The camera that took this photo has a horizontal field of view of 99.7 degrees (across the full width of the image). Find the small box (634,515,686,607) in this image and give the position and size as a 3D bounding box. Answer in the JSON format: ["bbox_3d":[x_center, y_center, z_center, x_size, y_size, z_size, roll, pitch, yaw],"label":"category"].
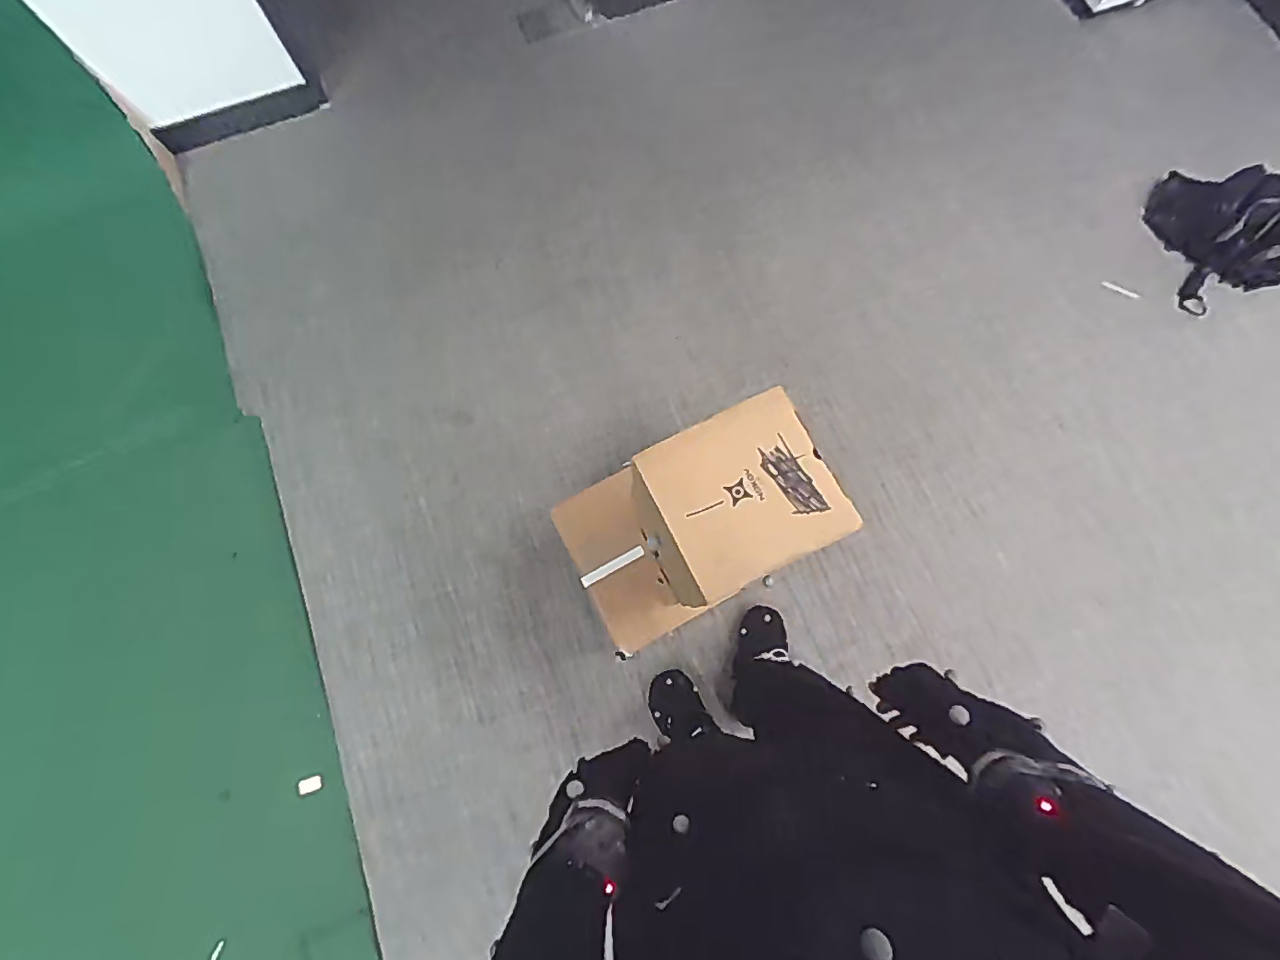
[{"bbox_3d":[0.102,0.112,0.945,0.179,0.176,0.168,-26,77,-8],"label":"small box"}]

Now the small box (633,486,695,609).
[{"bbox_3d":[0.101,0.072,0.787,0.168,0.176,0.179,-27,78,-7],"label":"small box"}]

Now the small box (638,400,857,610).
[{"bbox_3d":[0.107,0.038,0.625,0.179,0.176,0.168,-26,77,-6],"label":"small box"}]
